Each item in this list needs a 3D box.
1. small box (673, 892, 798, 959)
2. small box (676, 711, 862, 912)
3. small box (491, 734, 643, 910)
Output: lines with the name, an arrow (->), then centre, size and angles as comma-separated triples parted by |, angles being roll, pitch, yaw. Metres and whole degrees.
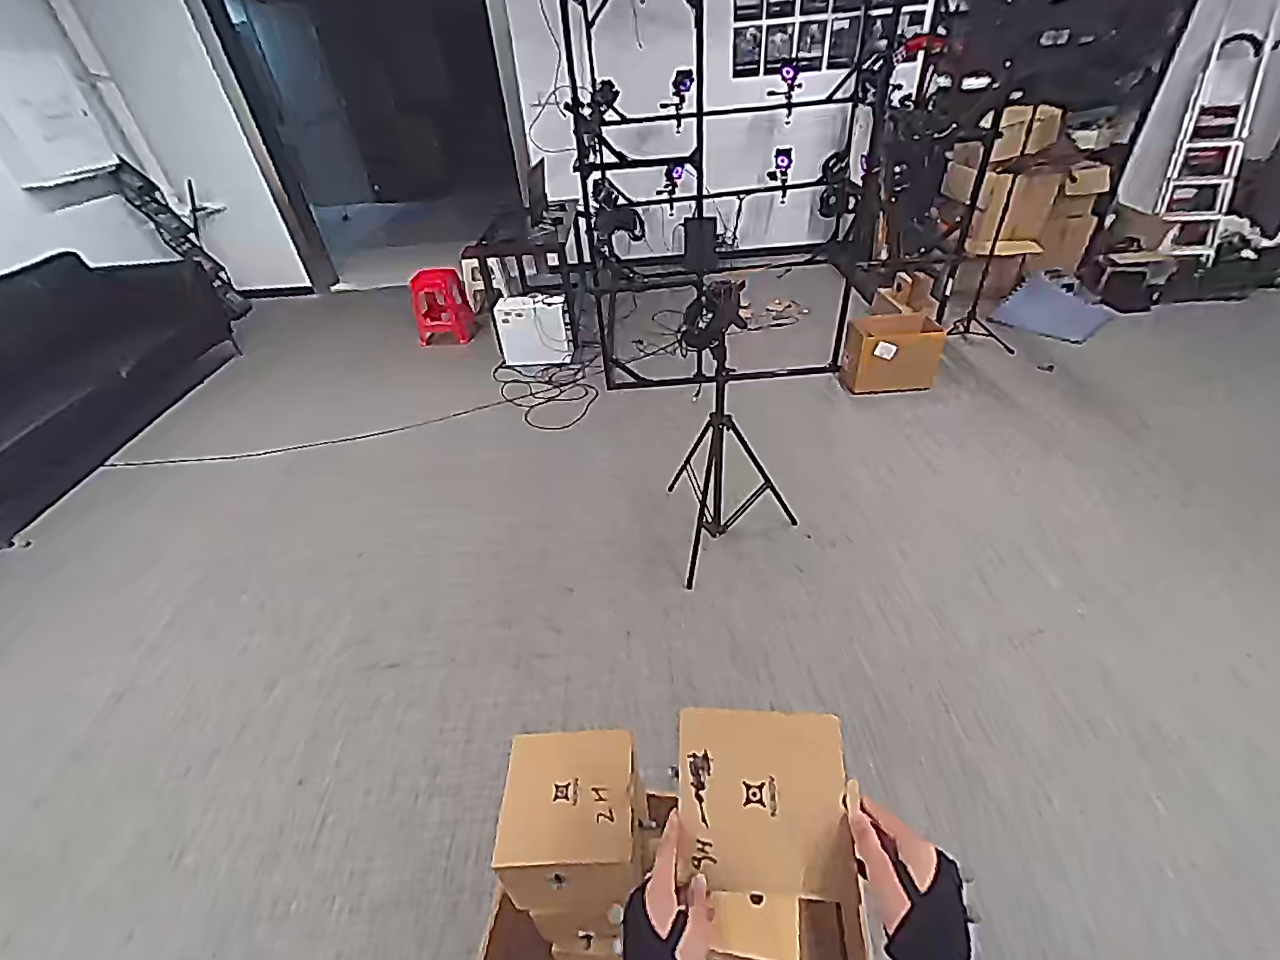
small box -> 0.148, 0.630, 0.812 | 0.168, 0.176, 0.179 | 2, 38, 13
small box -> 0.133, 0.372, 0.619 | 0.179, 0.176, 0.168 | 1, 57, 6
small box -> -0.089, 0.482, 0.762 | 0.179, 0.176, 0.168 | -3, 38, 2
